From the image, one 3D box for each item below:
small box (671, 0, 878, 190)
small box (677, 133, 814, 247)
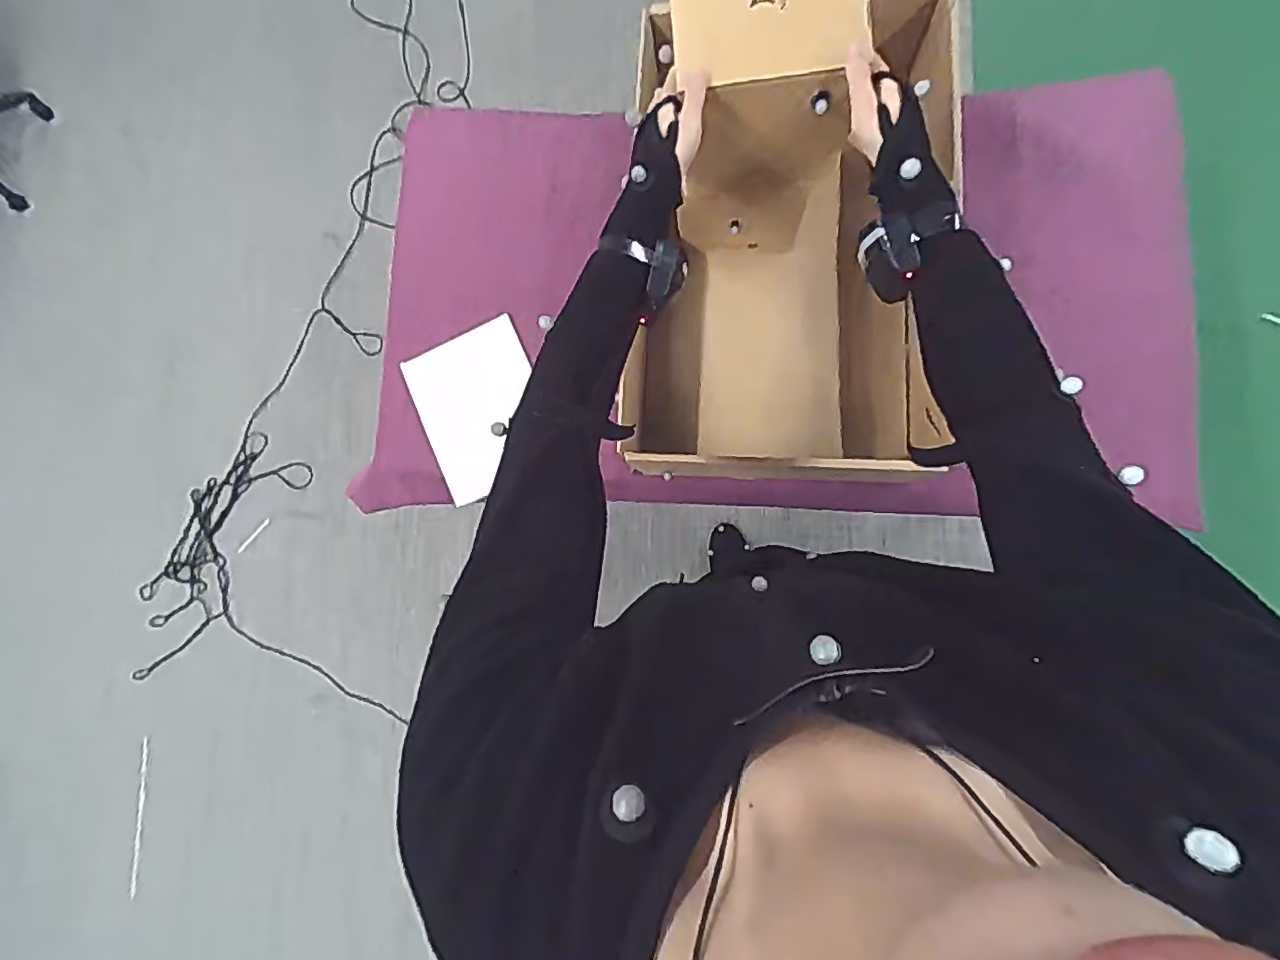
[{"bbox_3d":[0.125,-0.430,0.560,0.179,0.176,0.168,-4,85,6],"label":"small box"},{"bbox_3d":[0.142,-0.431,0.726,0.168,0.176,0.179,2,86,8],"label":"small box"}]
